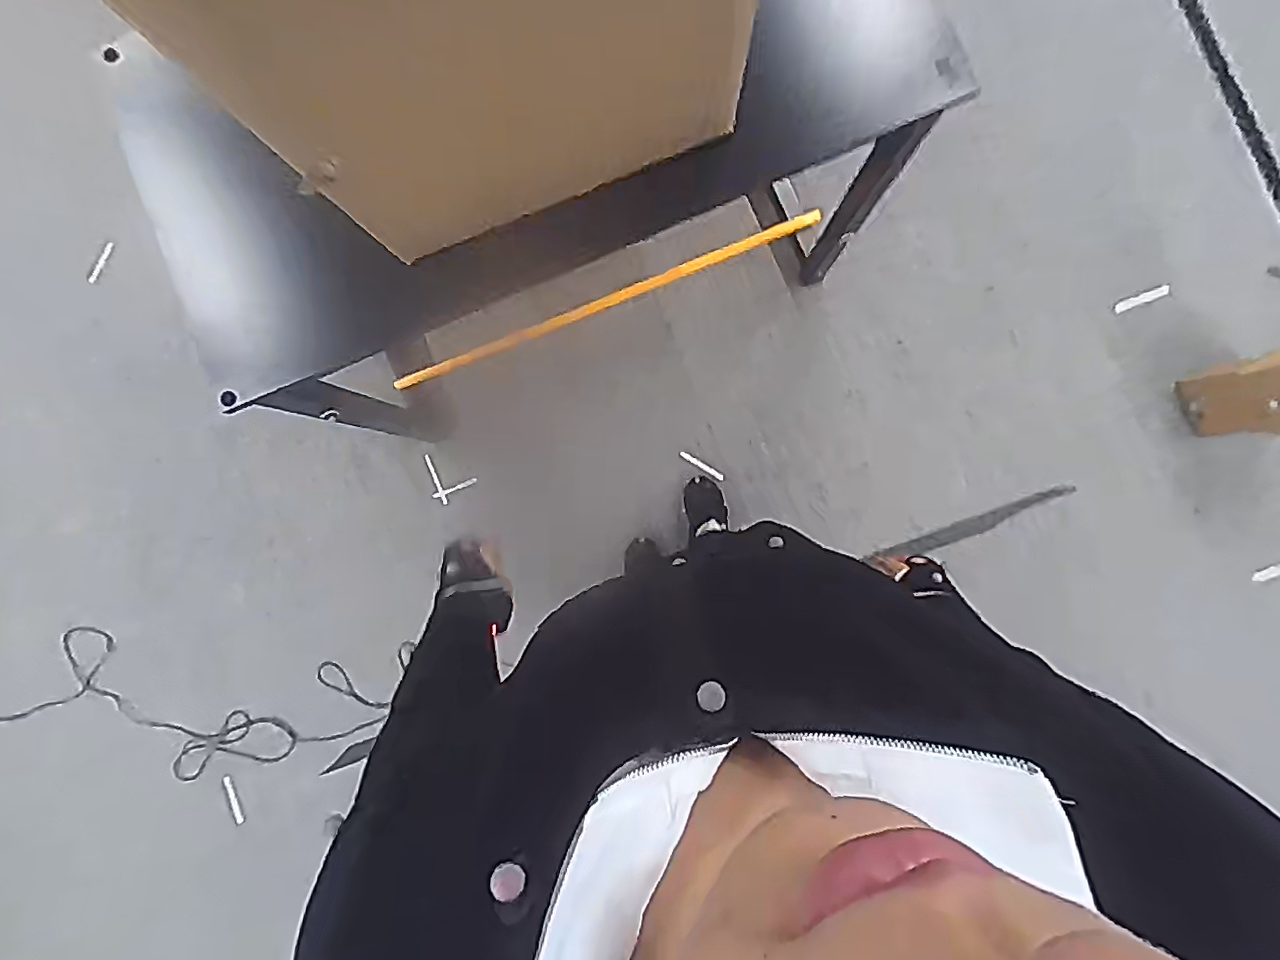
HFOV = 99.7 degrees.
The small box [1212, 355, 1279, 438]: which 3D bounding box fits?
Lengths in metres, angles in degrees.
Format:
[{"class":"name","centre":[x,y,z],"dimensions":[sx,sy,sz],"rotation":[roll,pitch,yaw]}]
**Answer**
[{"class":"small box","centre":[1.560,-0.211,1.295],"dimensions":[0.179,0.176,0.168],"rotation":[-22,87,3]}]
